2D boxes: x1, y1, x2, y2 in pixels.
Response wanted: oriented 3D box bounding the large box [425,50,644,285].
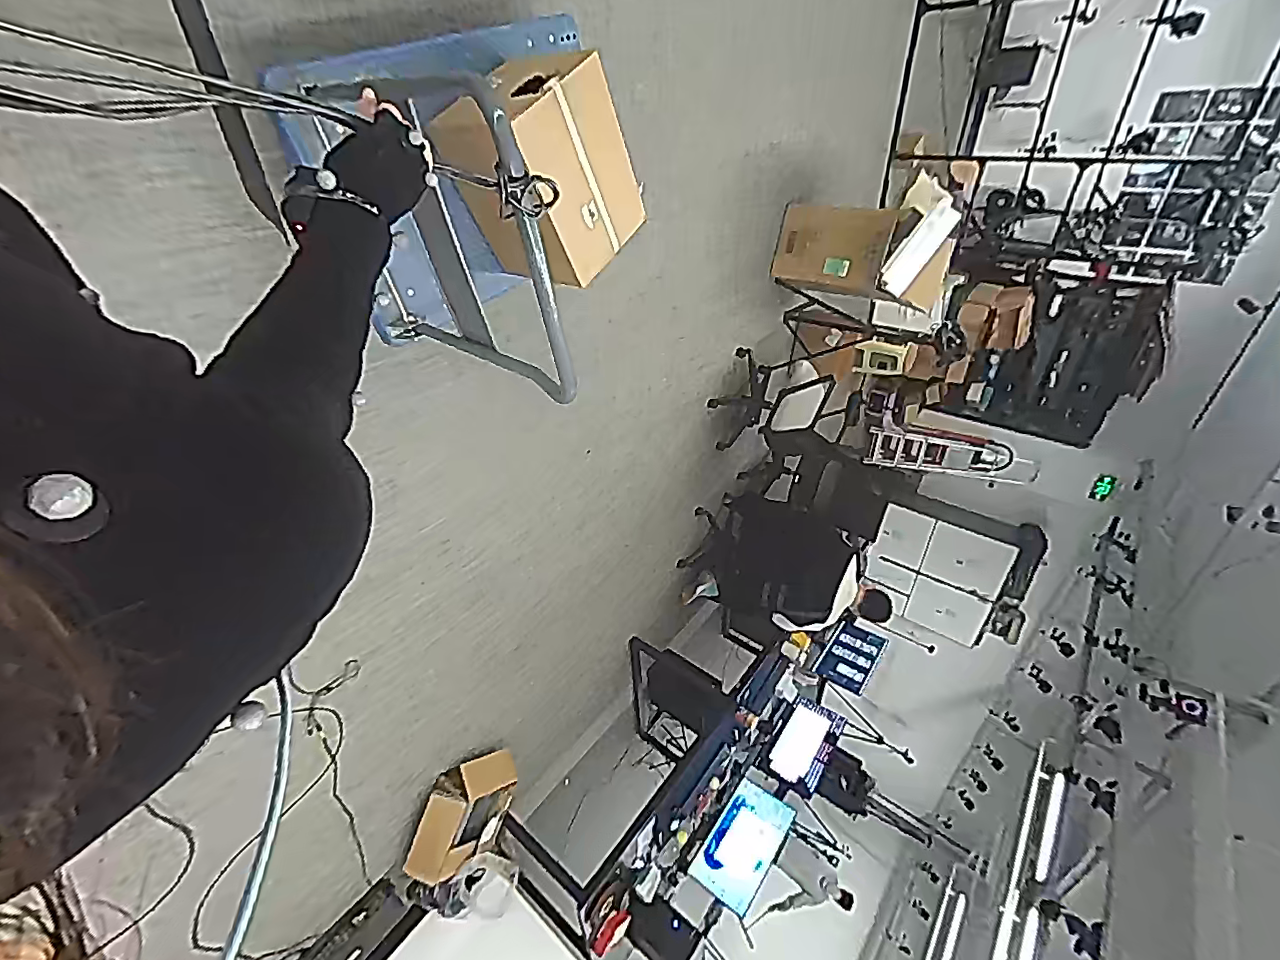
[{"bbox_3d":[-0.247,-0.774,1.369,0.320,0.320,0.408,-54,147,-19],"label":"large box"}]
